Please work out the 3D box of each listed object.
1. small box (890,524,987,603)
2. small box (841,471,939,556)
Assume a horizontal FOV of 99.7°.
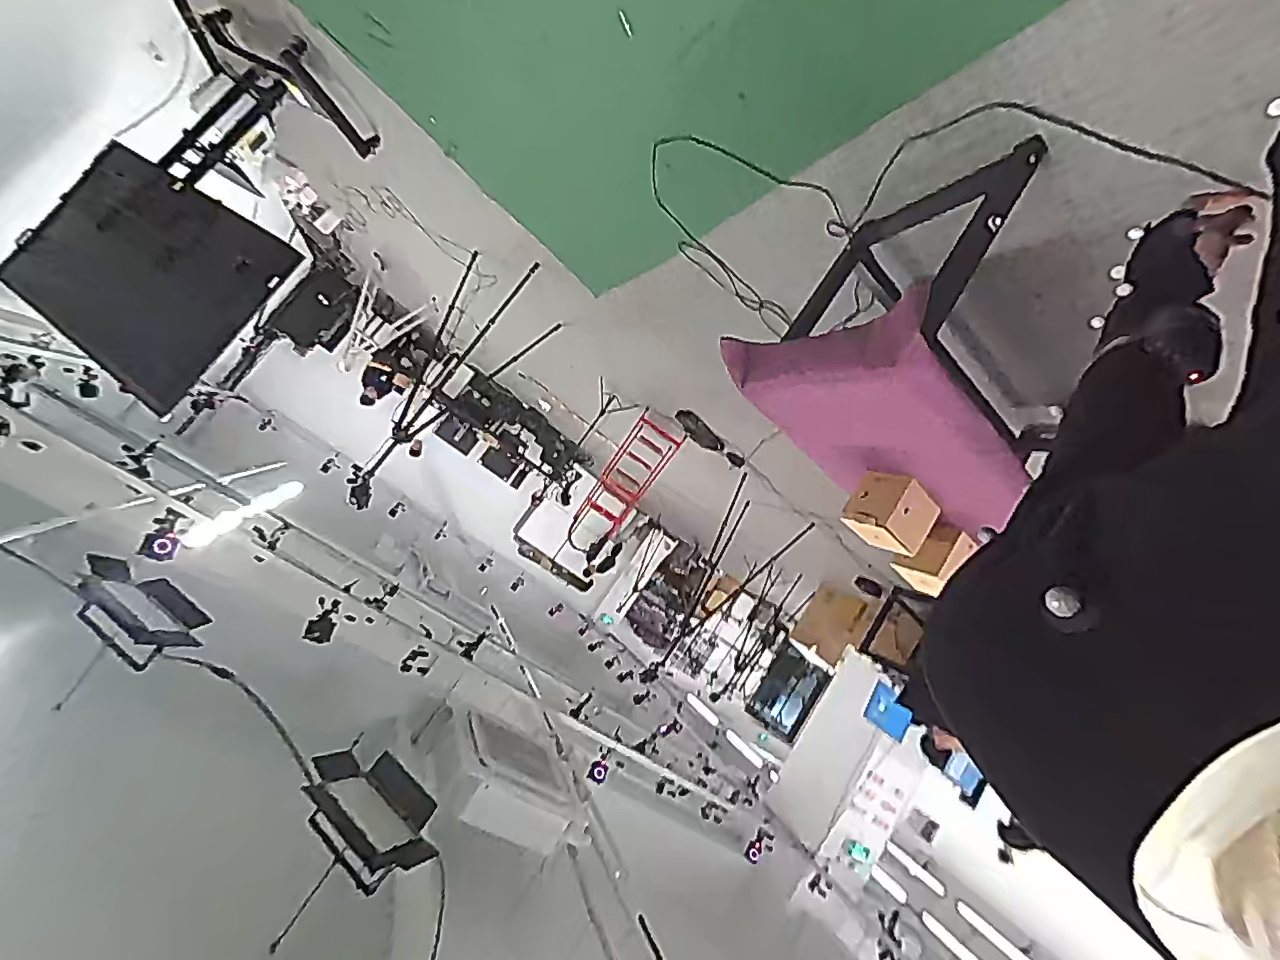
[{"bbox_3d":[0.936,0.251,1.694,0.168,0.176,0.179,39,169,-23],"label":"small box"},{"bbox_3d":[0.740,0.092,1.597,0.179,0.176,0.168,39,170,-26],"label":"small box"}]
